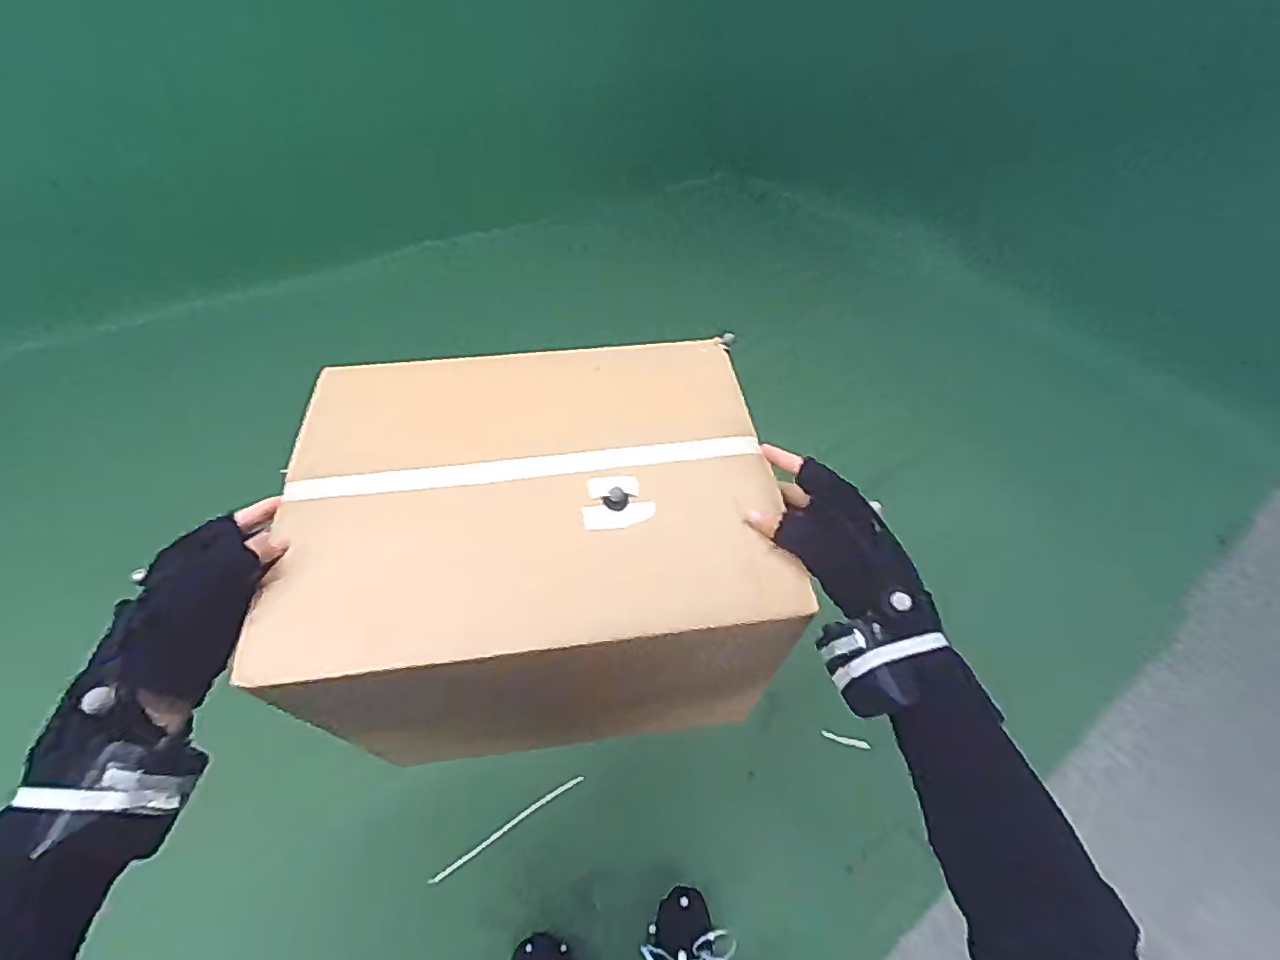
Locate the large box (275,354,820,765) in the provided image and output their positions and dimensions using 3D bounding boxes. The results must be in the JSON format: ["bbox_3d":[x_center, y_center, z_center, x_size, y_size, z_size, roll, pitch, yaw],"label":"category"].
[{"bbox_3d":[-0.083,0.090,0.597,0.408,0.320,0.320,-5,53,-6],"label":"large box"}]
